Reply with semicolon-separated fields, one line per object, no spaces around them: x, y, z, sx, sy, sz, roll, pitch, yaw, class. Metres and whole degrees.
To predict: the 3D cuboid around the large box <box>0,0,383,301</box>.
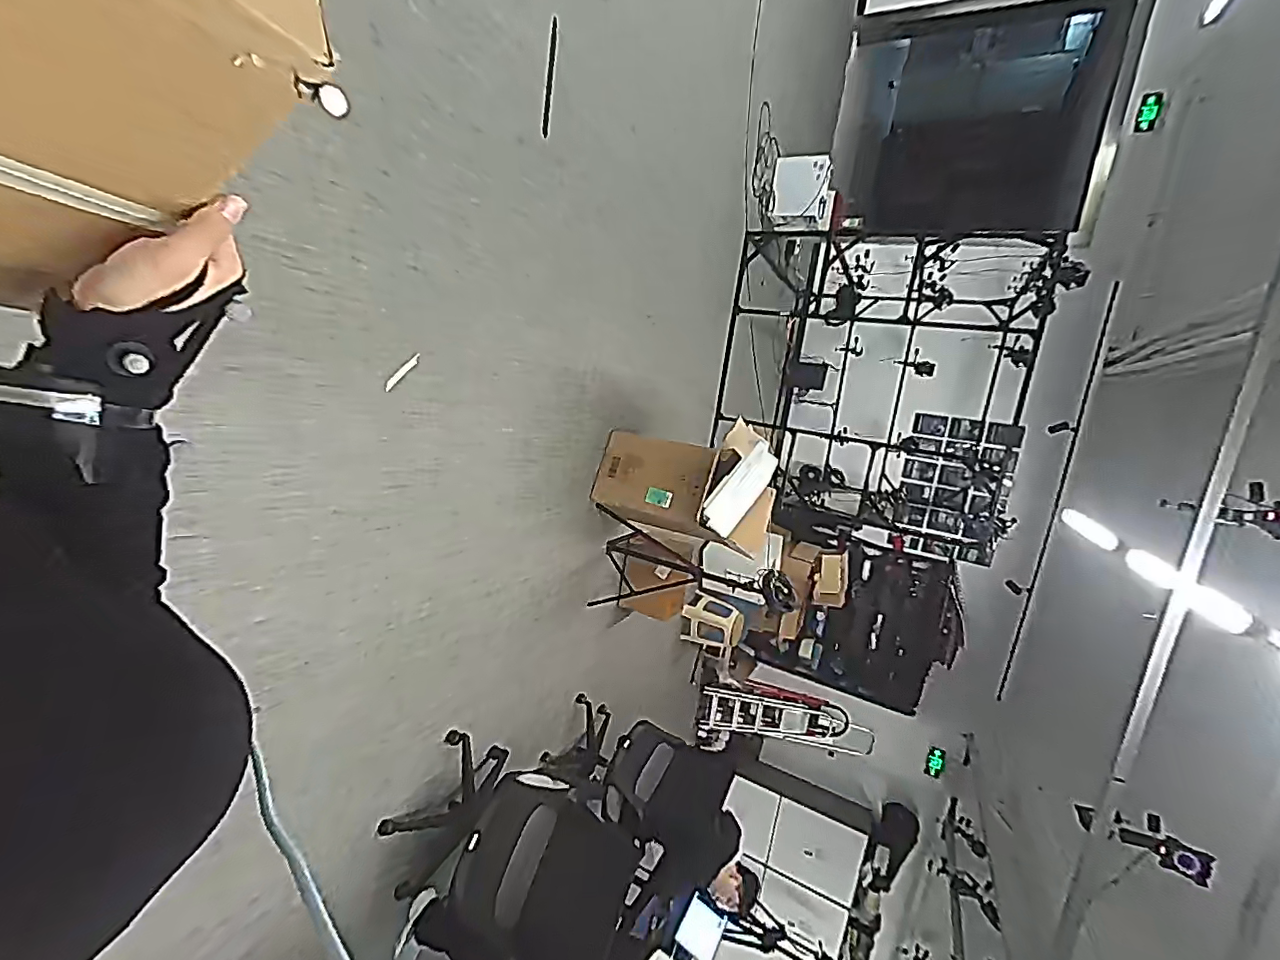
-0.379;-0.314;0.174;0.408;0.320;0.320;0;76;-61;large box
